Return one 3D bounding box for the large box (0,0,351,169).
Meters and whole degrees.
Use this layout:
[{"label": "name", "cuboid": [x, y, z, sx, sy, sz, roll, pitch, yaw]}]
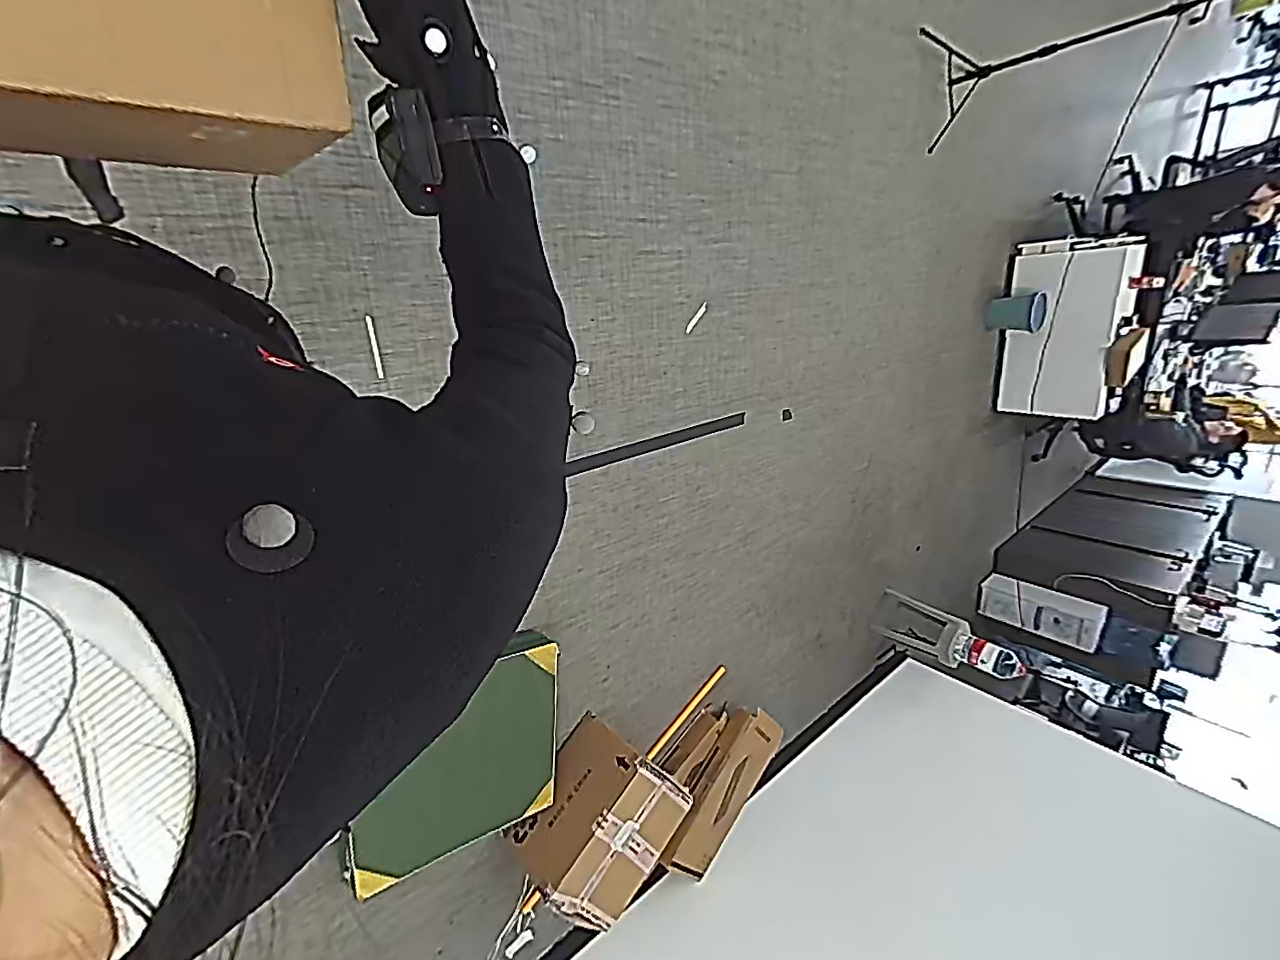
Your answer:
[{"label": "large box", "cuboid": [-0.443, -0.377, 0.300, 0.408, 0.320, 0.320, -17, 120, -36]}]
